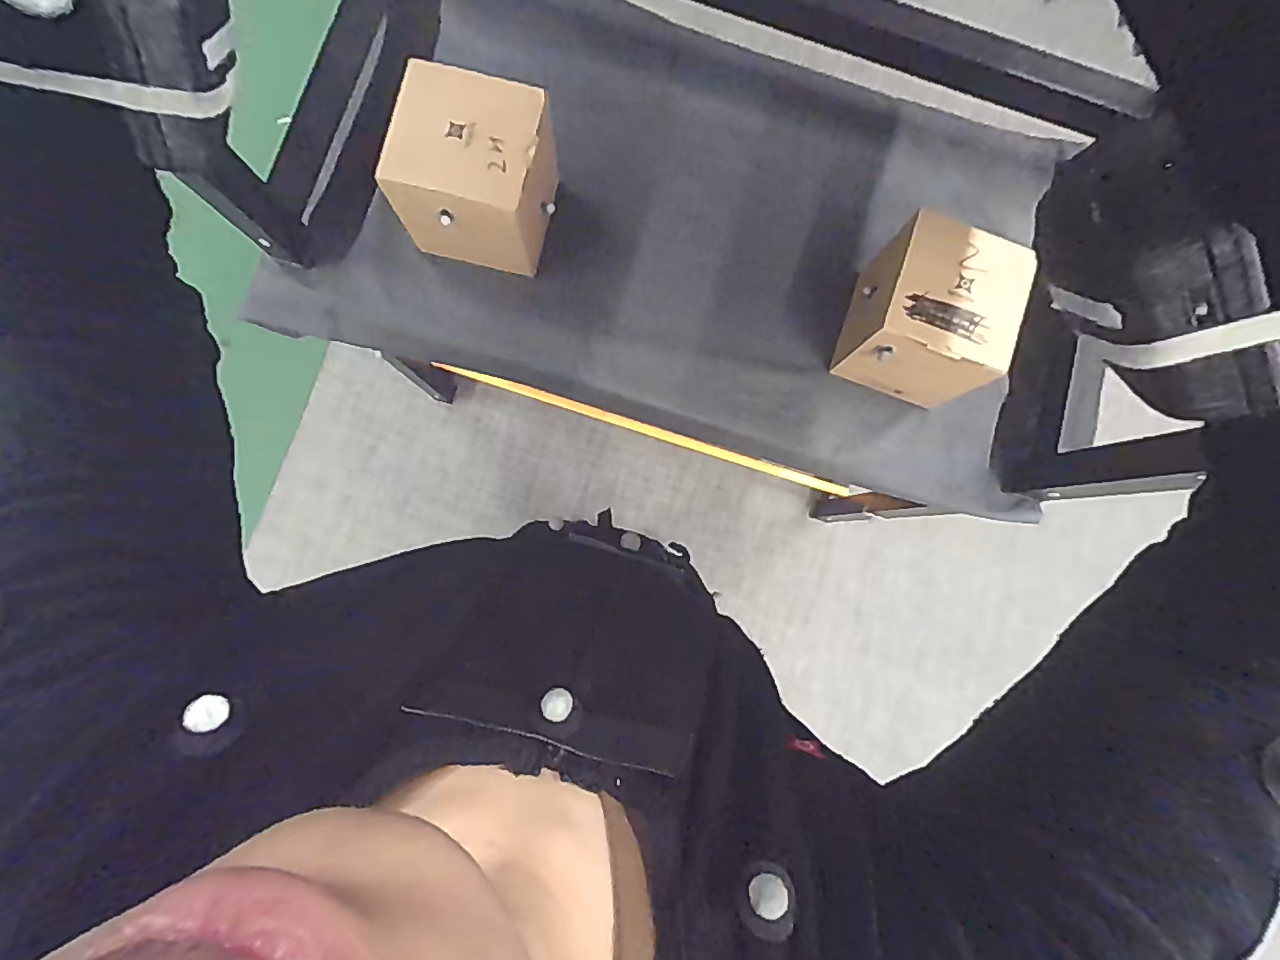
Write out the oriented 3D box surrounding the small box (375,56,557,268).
[{"bbox_3d":[-0.221,-0.416,0.736,0.179,0.176,0.168,13,84,-3],"label":"small box"}]
